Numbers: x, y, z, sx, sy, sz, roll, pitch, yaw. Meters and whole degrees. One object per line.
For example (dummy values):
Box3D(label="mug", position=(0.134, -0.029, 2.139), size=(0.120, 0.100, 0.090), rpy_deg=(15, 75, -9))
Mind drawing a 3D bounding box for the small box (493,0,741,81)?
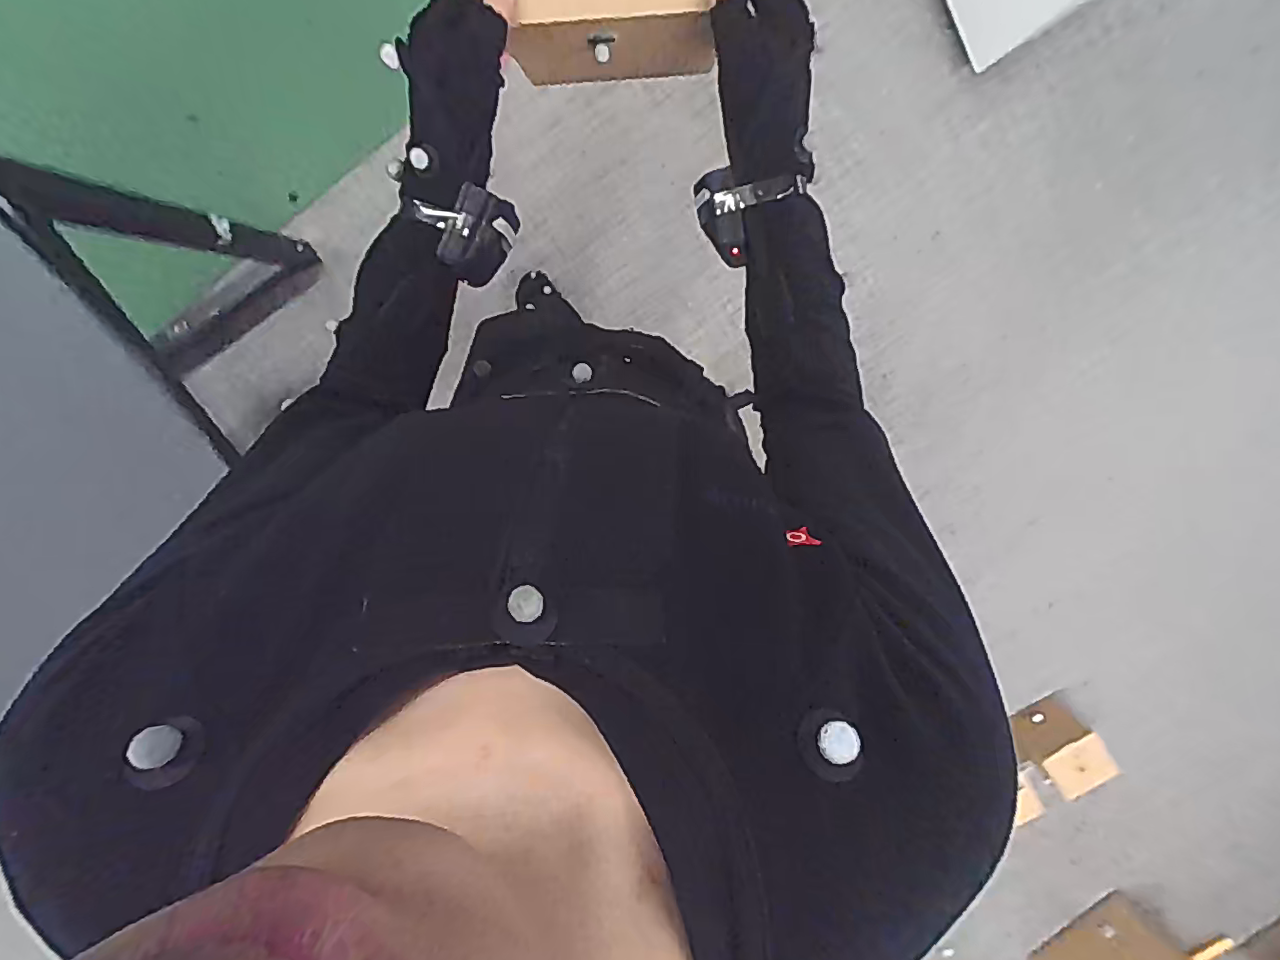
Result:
Box3D(label="small box", position=(-0.017, -0.429, 0.418), size=(0.179, 0.176, 0.168), rpy_deg=(-2, 114, 0))

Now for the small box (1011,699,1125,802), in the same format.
Box3D(label="small box", position=(1.253, 0.792, 1.595), size=(0.168, 0.176, 0.179), rpy_deg=(-37, 101, 7))
